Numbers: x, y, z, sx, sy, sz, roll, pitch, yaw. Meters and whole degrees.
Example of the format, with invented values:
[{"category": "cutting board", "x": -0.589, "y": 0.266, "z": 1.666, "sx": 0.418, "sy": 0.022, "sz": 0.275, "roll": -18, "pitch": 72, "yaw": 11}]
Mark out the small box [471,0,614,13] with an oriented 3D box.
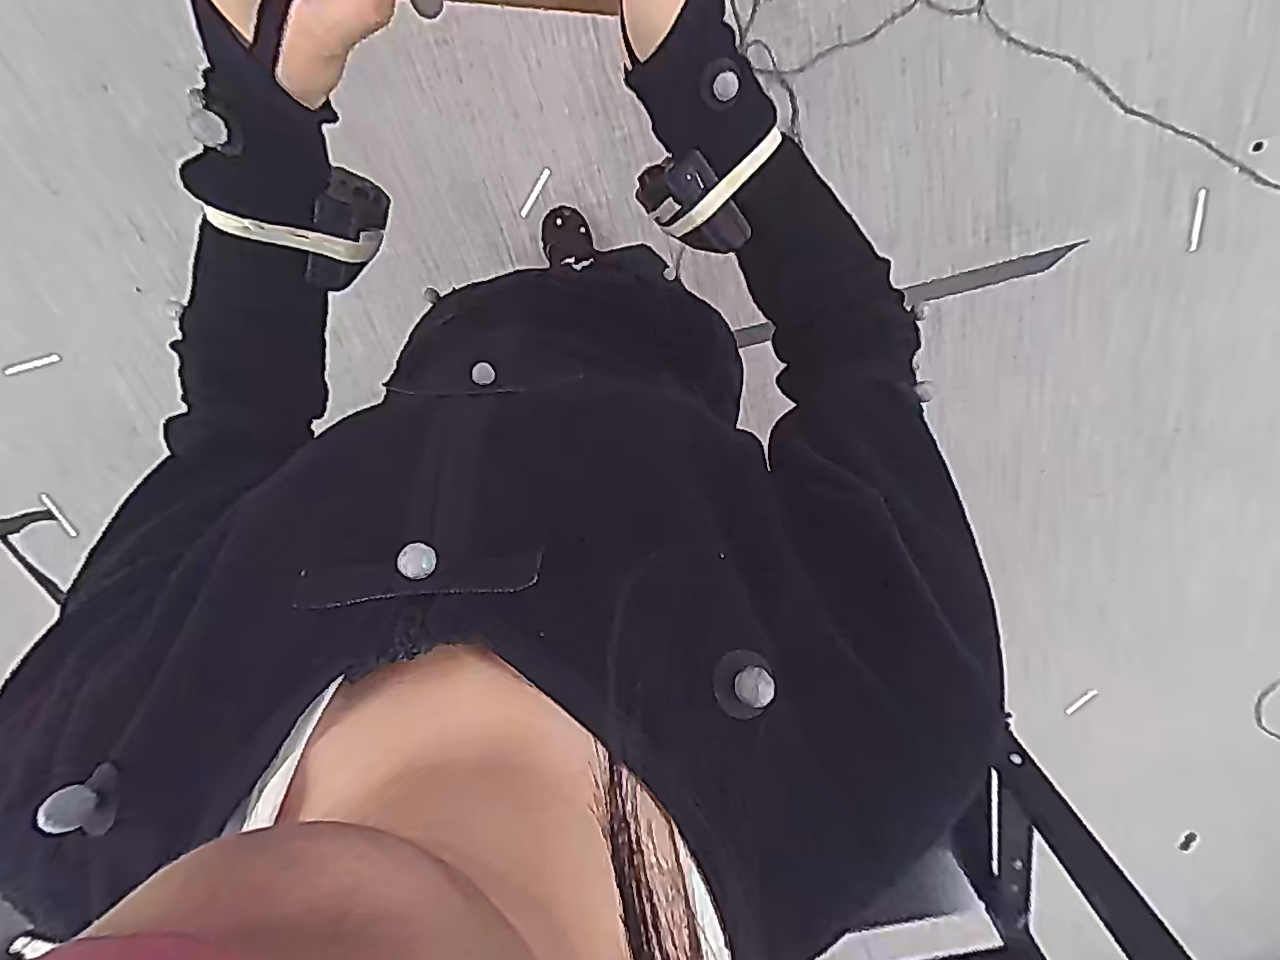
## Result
[{"category": "small box", "x": -0.081, "y": -0.303, "z": 0.179, "sx": 0.168, "sy": 0.176, "sz": 0.179, "roll": 1, "pitch": 113, "yaw": -3}]
